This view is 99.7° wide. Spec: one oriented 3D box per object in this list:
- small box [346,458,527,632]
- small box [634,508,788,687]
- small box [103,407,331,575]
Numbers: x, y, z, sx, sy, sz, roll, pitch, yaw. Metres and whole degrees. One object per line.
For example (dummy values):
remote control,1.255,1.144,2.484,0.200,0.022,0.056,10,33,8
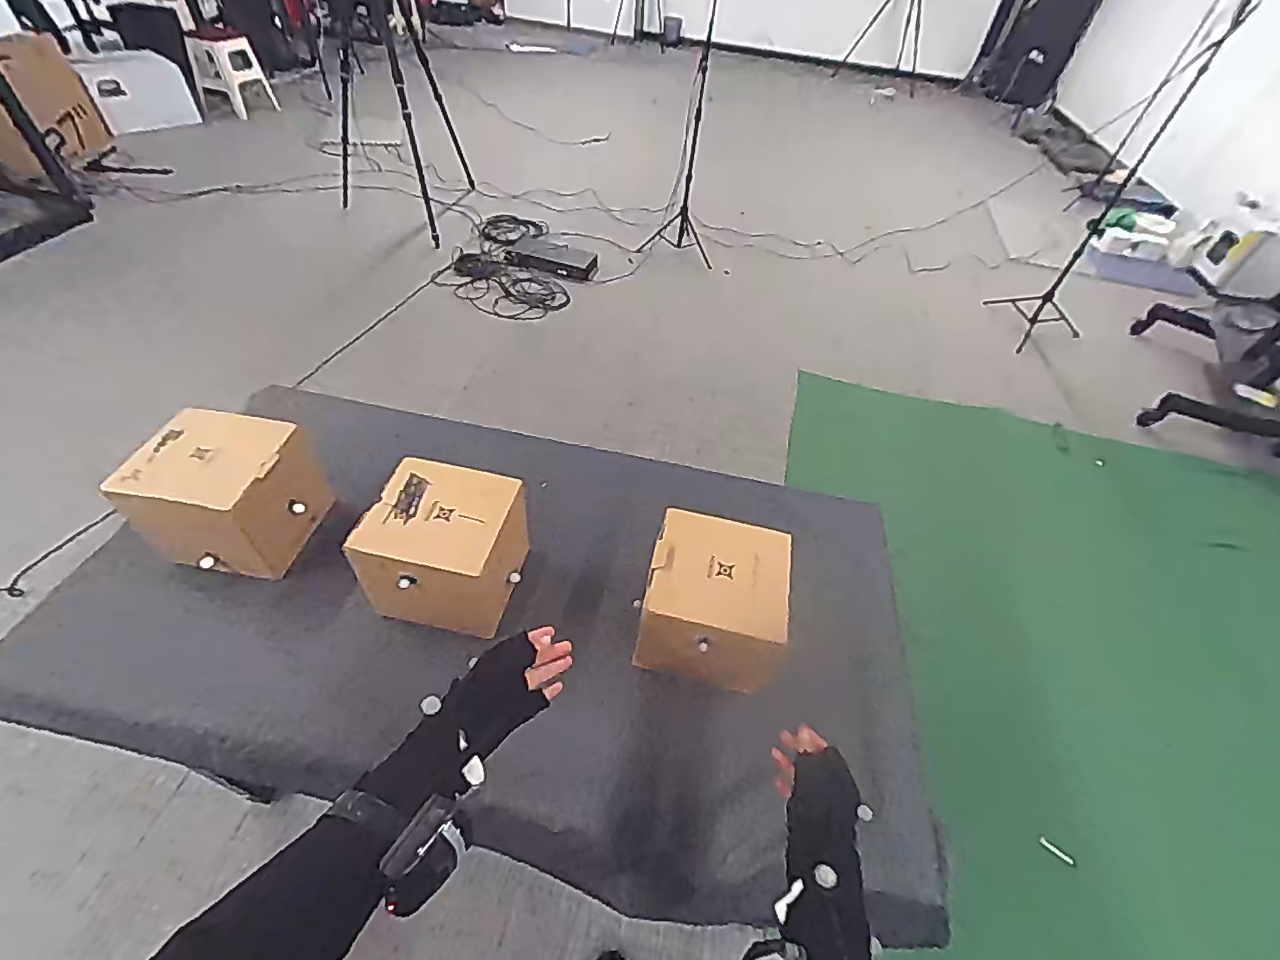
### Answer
small box,-0.272,0.096,0.772,0.179,0.176,0.168,12,48,3
small box,0.095,0.169,0.757,0.179,0.176,0.168,13,49,3
small box,-0.597,0.020,0.798,0.179,0.176,0.168,10,48,1
